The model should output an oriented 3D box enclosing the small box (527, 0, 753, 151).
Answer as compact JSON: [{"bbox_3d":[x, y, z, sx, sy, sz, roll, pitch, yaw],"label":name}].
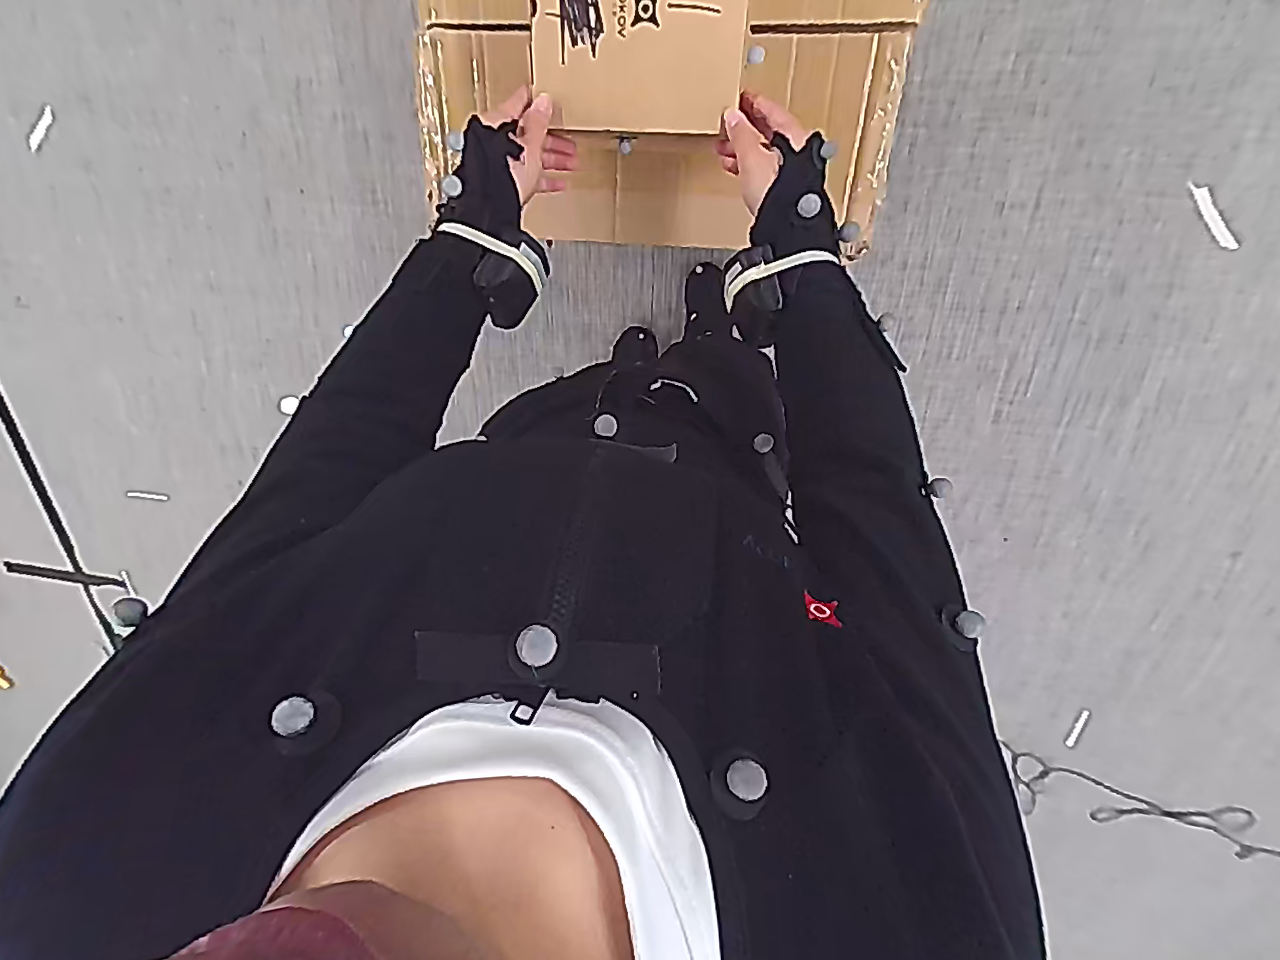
[{"bbox_3d":[0.008,-0.402,0.488,0.179,0.176,0.168,6,117,6],"label":"small box"}]
